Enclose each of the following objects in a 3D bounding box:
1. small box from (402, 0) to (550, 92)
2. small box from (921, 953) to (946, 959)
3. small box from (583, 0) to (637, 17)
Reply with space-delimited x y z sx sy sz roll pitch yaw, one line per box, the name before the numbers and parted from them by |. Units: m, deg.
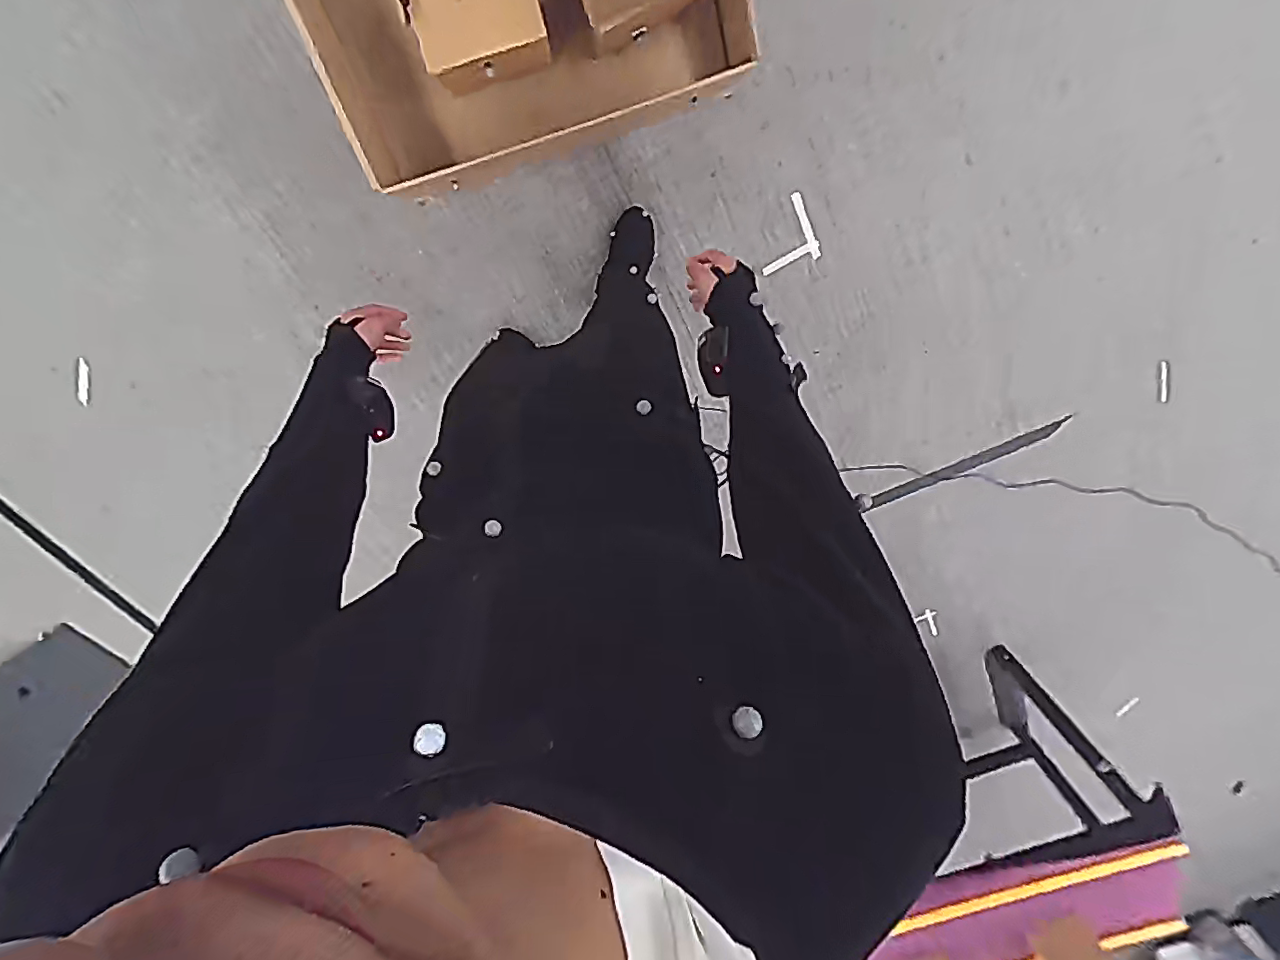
small box | -0.235 -0.686 0.771 0.179 0.176 0.168 -16 117 4
small box | 0.957 1.687 1.749 0.179 0.176 0.168 -27 115 9
small box | -0.011 -0.670 0.608 0.179 0.176 0.168 -19 117 7
